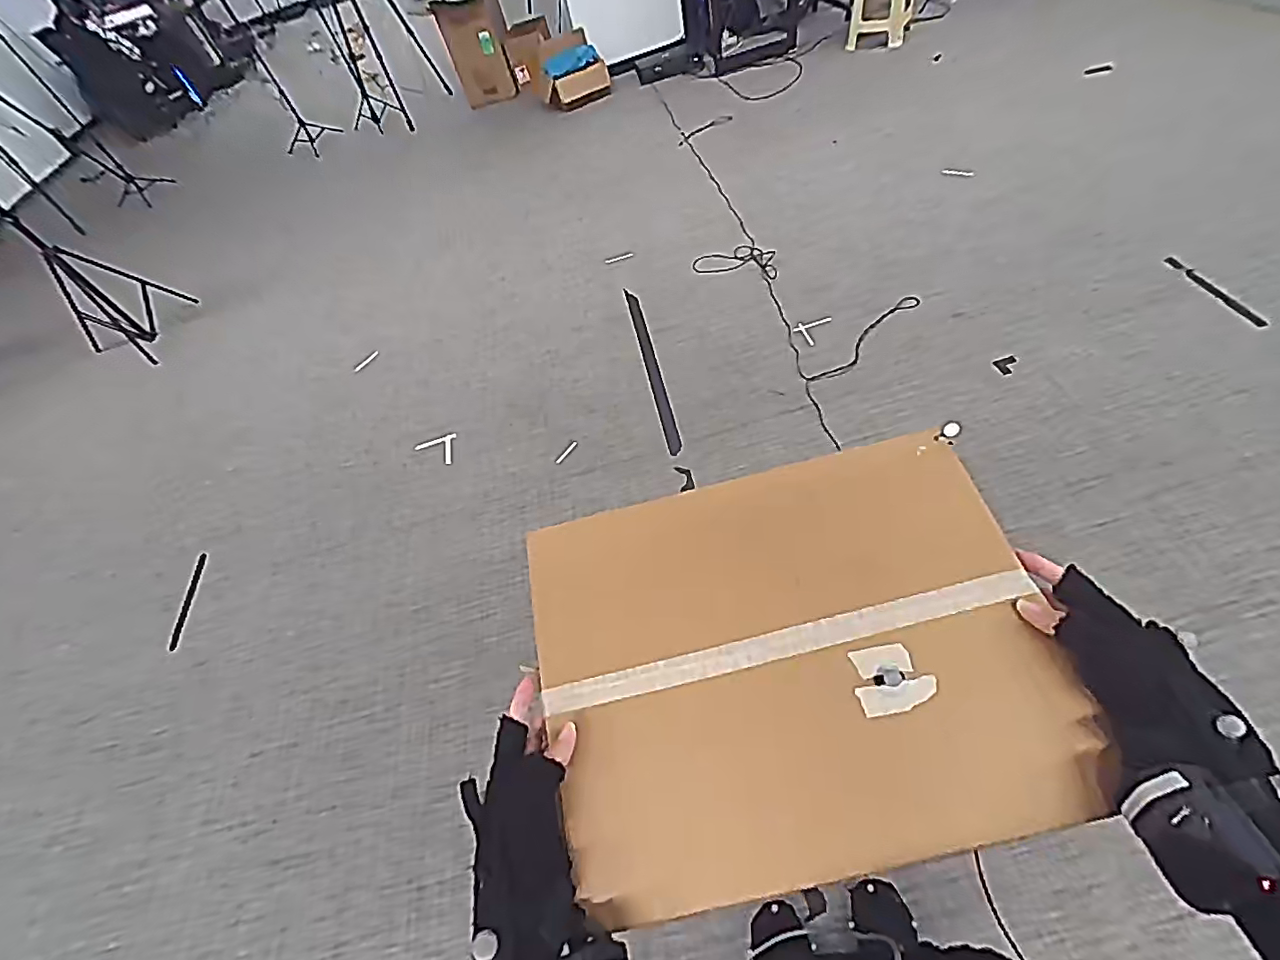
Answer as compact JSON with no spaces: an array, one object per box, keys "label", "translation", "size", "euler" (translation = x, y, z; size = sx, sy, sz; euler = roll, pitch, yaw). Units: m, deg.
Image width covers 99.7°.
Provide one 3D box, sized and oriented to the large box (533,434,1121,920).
[{"label":"large box","translation":[0.137,0.205,0.584],"size":[0.408,0.320,0.320],"euler":[-15,61,1]}]
